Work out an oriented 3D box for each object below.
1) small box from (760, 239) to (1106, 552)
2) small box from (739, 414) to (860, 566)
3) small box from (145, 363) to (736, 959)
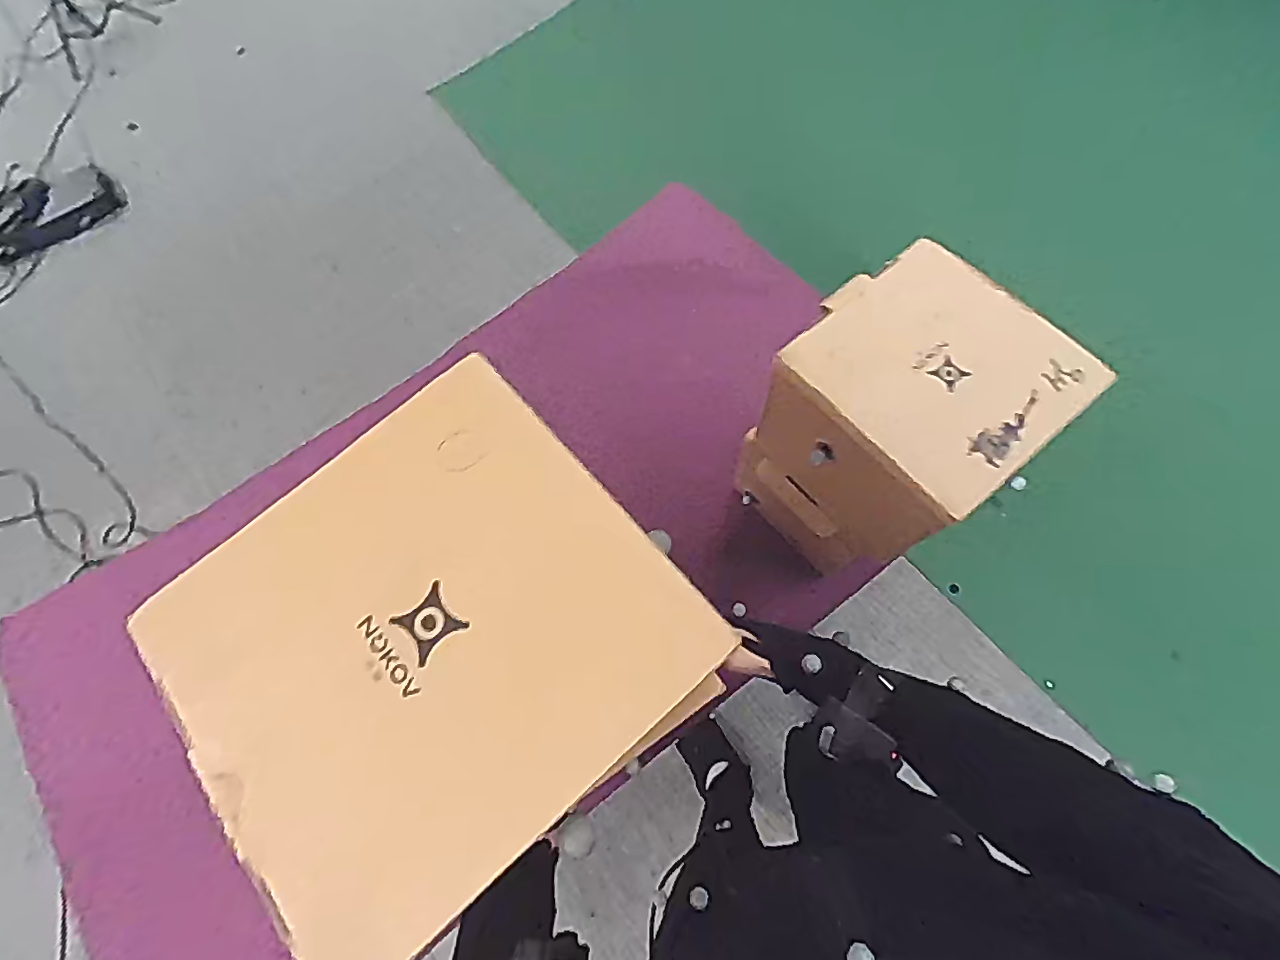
[{"bbox_3d":[0.225,-0.060,0.475,0.168,0.176,0.179,-39,71,-7],"label":"small box"},{"bbox_3d":[0.232,-0.021,0.635,0.179,0.176,0.168,-40,72,-9],"label":"small box"},{"bbox_3d":[-0.075,0.082,0.281,0.179,0.176,0.168,-41,73,-8],"label":"small box"}]
